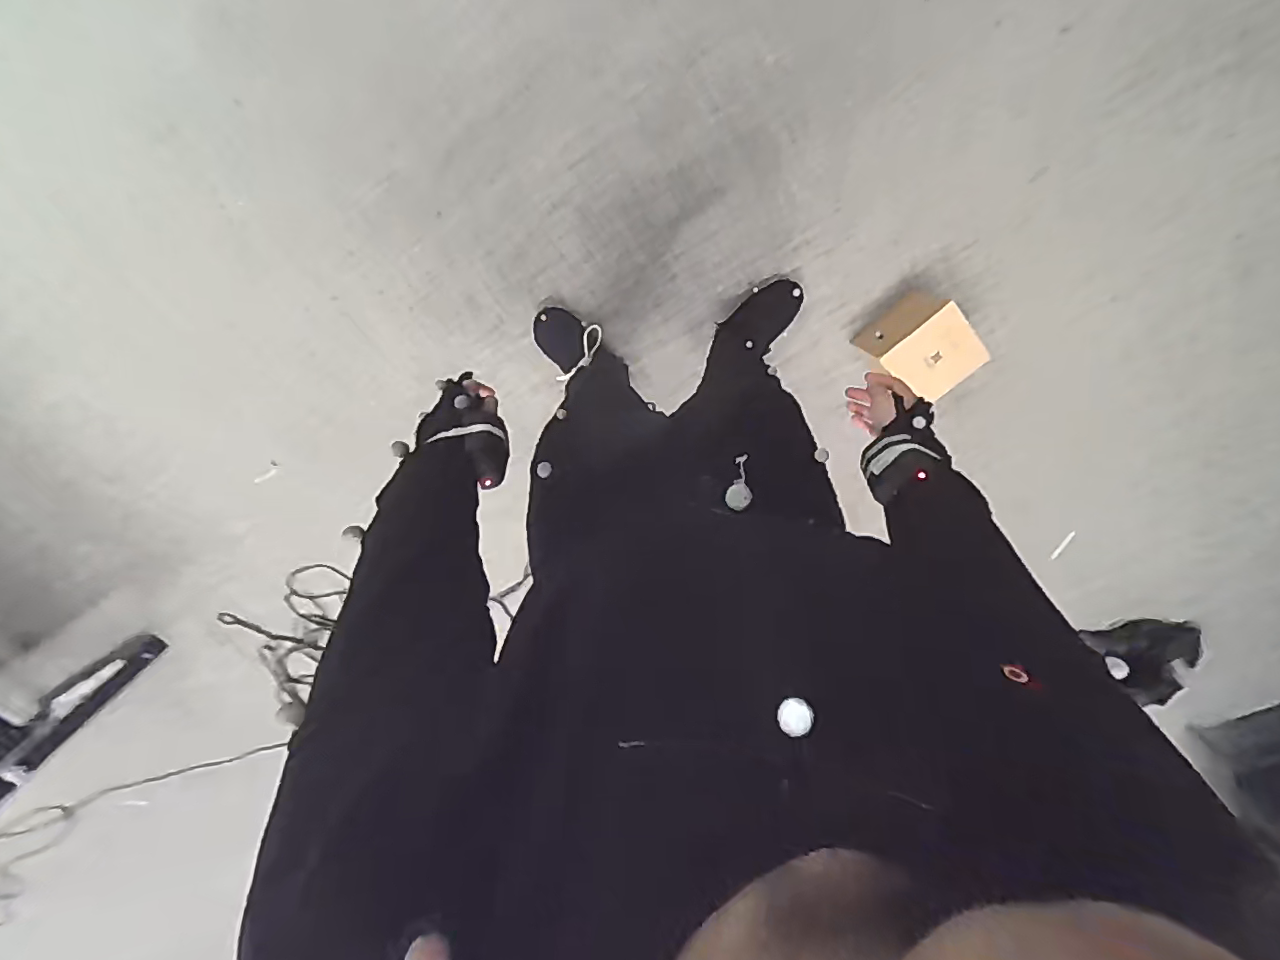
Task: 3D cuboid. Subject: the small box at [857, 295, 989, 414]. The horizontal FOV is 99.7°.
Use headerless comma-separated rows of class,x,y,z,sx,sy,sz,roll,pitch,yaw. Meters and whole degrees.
small box,0.606,-0.281,1.190,0.179,0.176,0.168,-41,111,15
